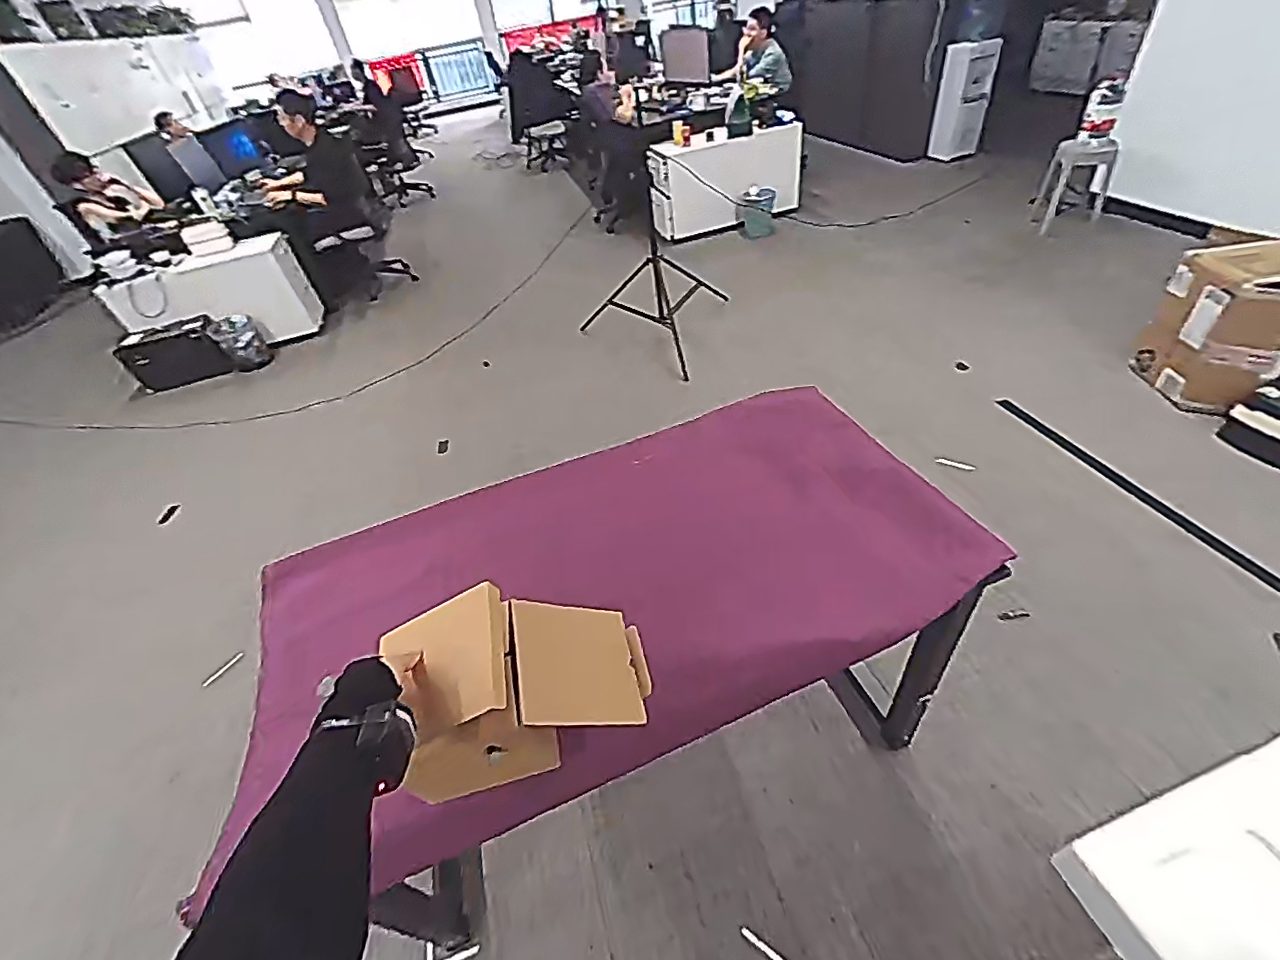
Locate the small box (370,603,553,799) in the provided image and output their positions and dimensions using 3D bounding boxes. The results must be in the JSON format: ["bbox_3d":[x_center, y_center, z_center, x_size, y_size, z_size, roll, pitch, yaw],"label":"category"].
[{"bbox_3d":[-0.220,0.292,0.710,0.179,0.176,0.168,-16,46,-3],"label":"small box"}]
